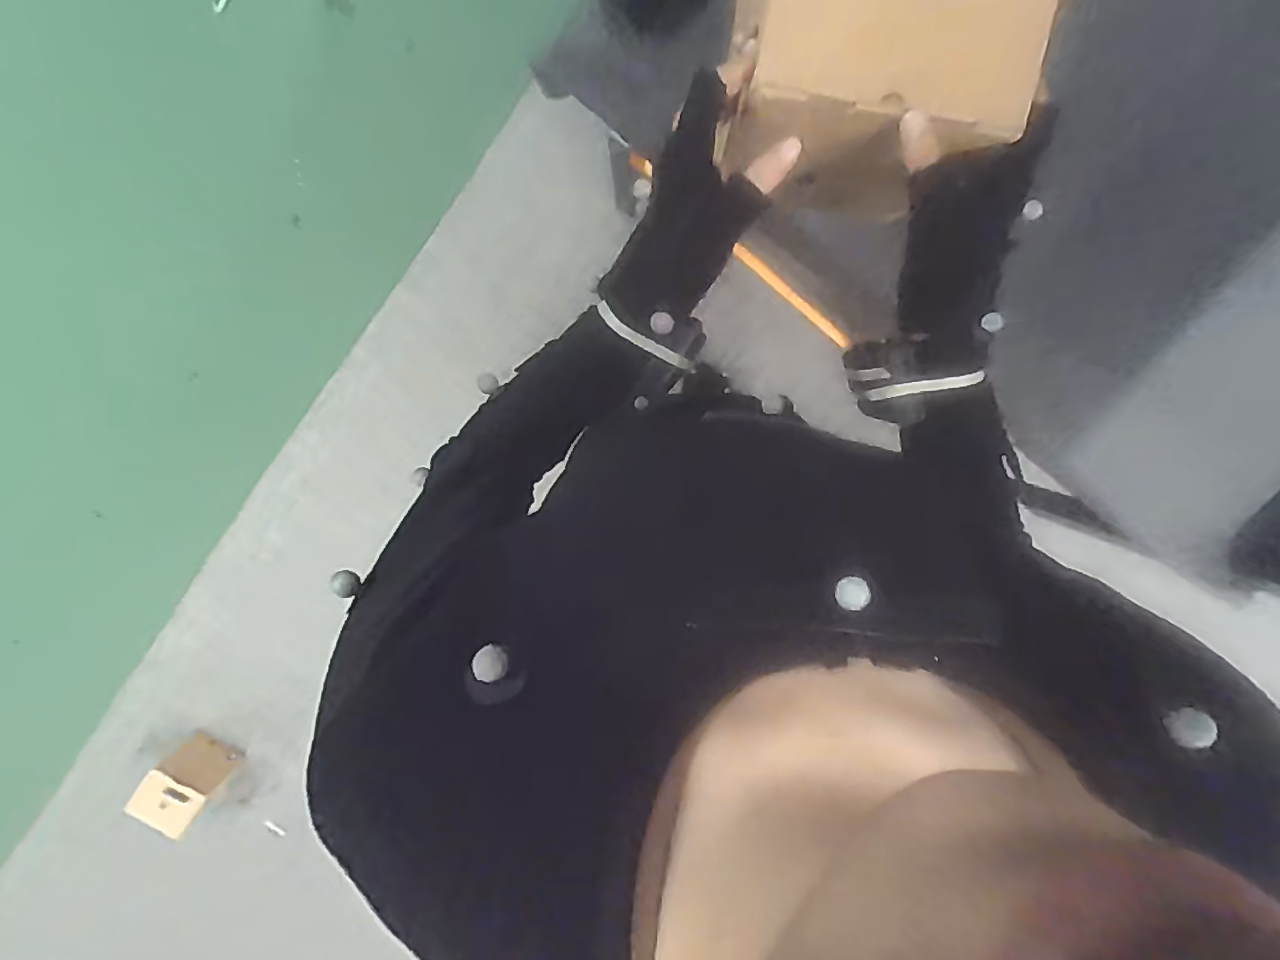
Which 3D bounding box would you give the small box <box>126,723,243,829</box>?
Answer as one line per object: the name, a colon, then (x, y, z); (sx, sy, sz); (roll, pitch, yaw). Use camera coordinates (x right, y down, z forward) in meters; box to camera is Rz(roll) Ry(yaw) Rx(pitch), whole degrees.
small box: (-1.321, 0.858, 1.585); (0.168, 0.176, 0.179); (37, 100, -7)
